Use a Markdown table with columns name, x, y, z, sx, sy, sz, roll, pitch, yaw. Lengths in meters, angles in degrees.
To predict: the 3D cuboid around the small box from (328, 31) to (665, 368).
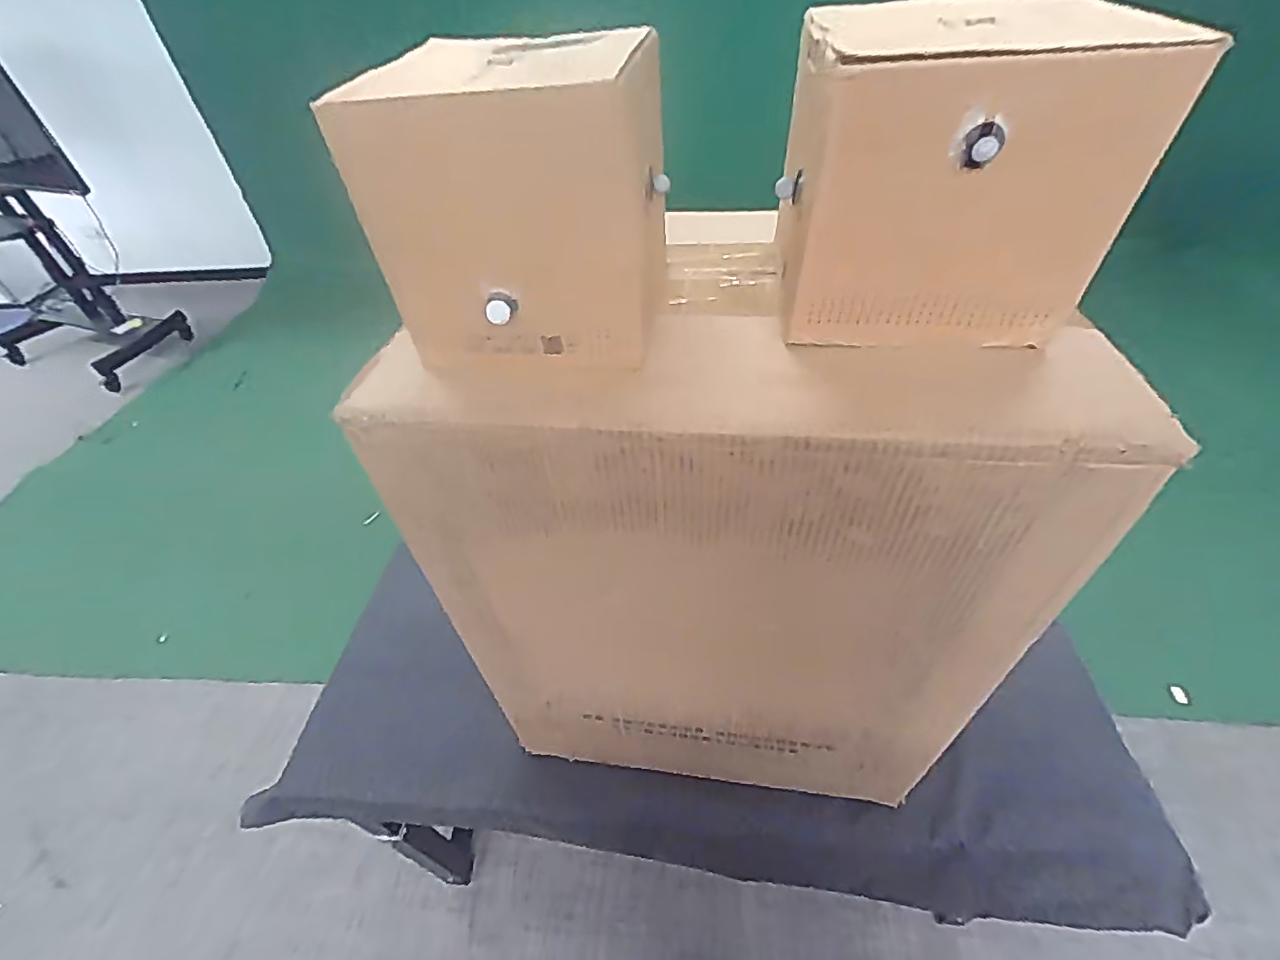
| name | x | y | z | sx | sy | sz | roll | pitch | yaw |
| --- | --- | --- | --- | --- | --- | --- | --- | --- | --- |
| small box | -0.072 | -0.202 | 0.393 | 0.168 | 0.176 | 0.179 | 2 | 47 | 9 |

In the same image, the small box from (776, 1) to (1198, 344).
| name | x | y | z | sx | sy | sz | roll | pitch | yaw |
| --- | --- | --- | --- | --- | --- | --- | --- | --- | --- |
| small box | 0.192 | -0.209 | 0.375 | 0.179 | 0.176 | 0.168 | 4 | 48 | 6 |
